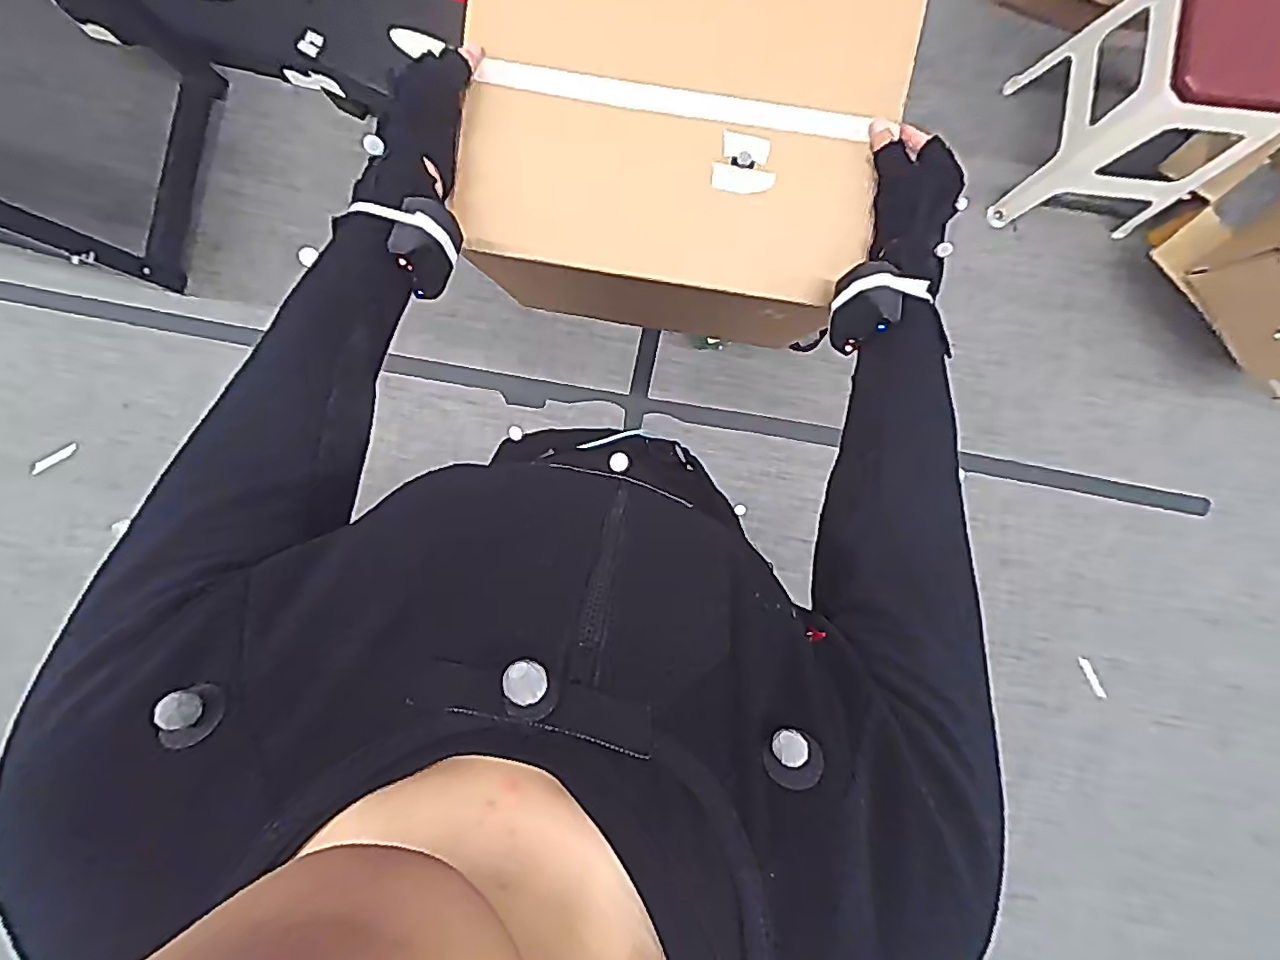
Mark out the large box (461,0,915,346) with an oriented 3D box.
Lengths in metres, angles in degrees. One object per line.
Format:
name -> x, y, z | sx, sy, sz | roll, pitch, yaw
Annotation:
large box -> 0.039, -0.363, 0.660 | 0.408, 0.320, 0.320 | 9, 97, -1
